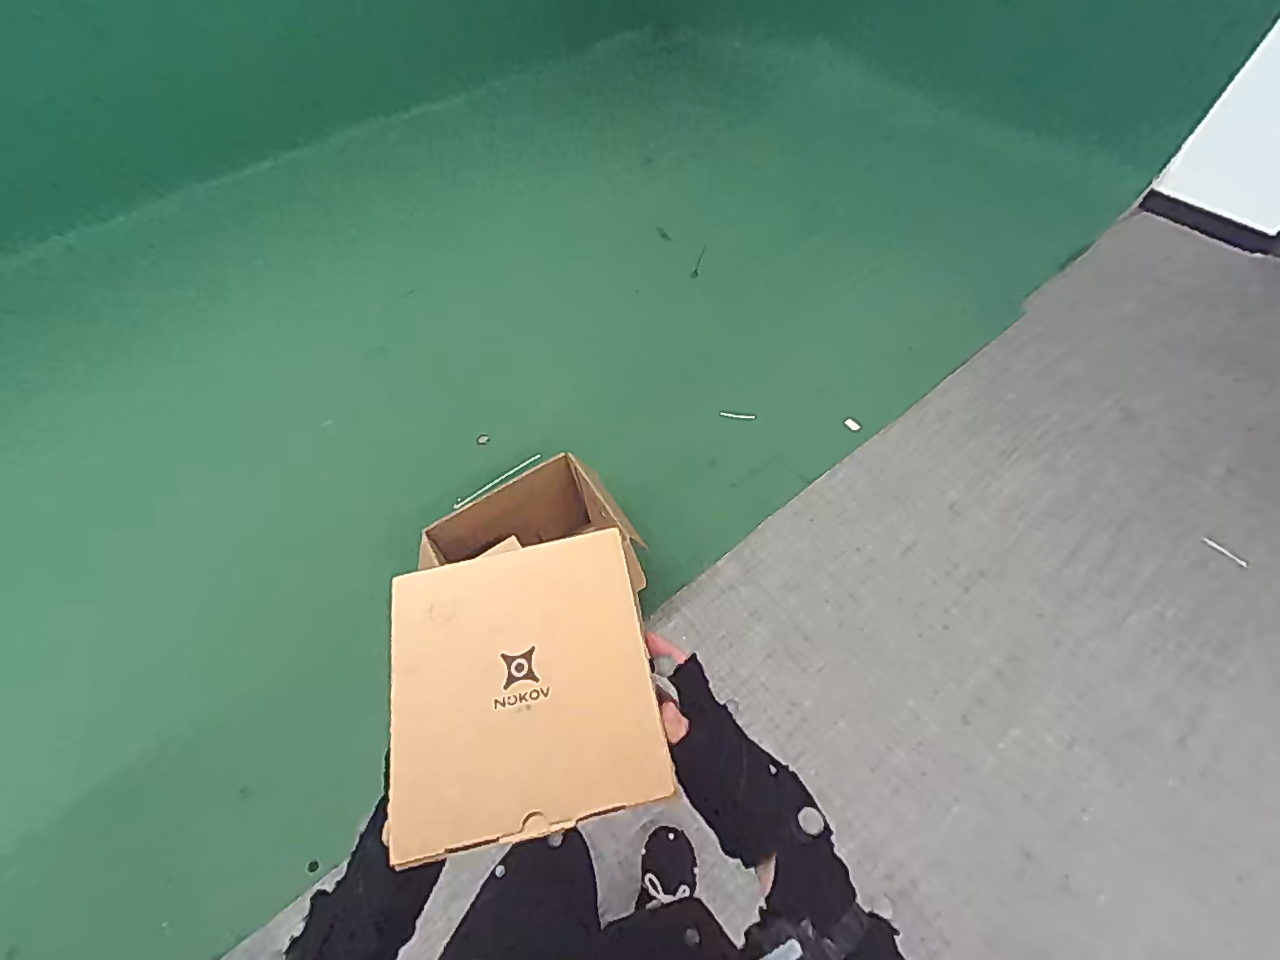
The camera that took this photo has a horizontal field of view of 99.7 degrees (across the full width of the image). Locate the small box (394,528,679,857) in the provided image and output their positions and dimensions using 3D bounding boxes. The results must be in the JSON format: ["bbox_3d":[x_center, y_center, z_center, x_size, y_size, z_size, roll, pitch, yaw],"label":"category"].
[{"bbox_3d":[-0.072,0.162,0.417,0.168,0.176,0.179,-12,62,-4],"label":"small box"}]
